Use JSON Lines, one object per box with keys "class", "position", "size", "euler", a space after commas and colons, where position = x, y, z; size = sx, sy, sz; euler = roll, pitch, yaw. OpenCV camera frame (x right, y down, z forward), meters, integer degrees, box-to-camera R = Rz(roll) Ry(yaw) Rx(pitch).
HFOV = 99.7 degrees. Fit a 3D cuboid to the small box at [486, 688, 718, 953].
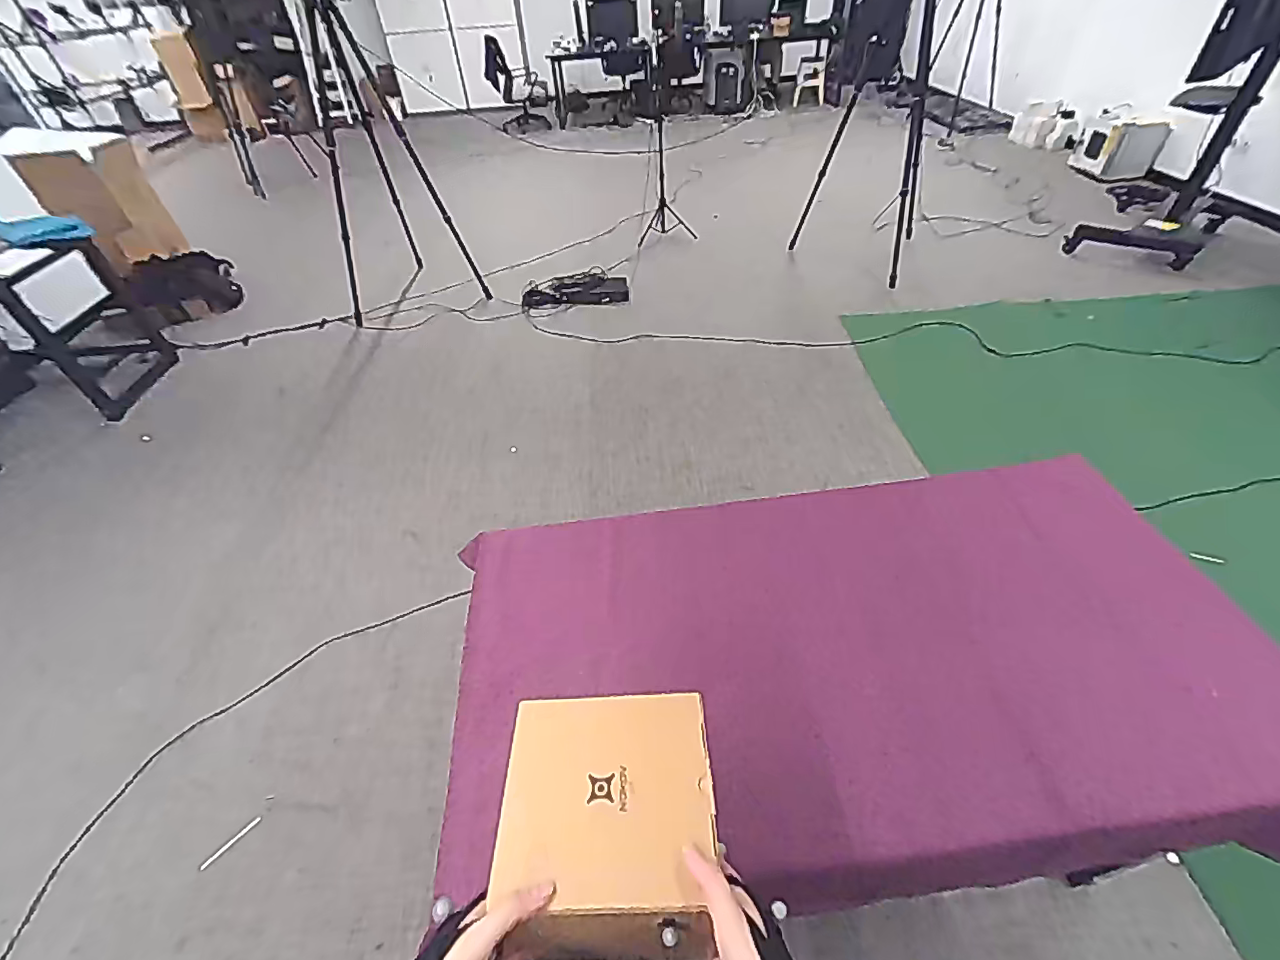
{"class": "small box", "position": [-0.022, 0.318, 0.507], "size": [0.179, 0.176, 0.168], "euler": [-4, 38, 3]}
